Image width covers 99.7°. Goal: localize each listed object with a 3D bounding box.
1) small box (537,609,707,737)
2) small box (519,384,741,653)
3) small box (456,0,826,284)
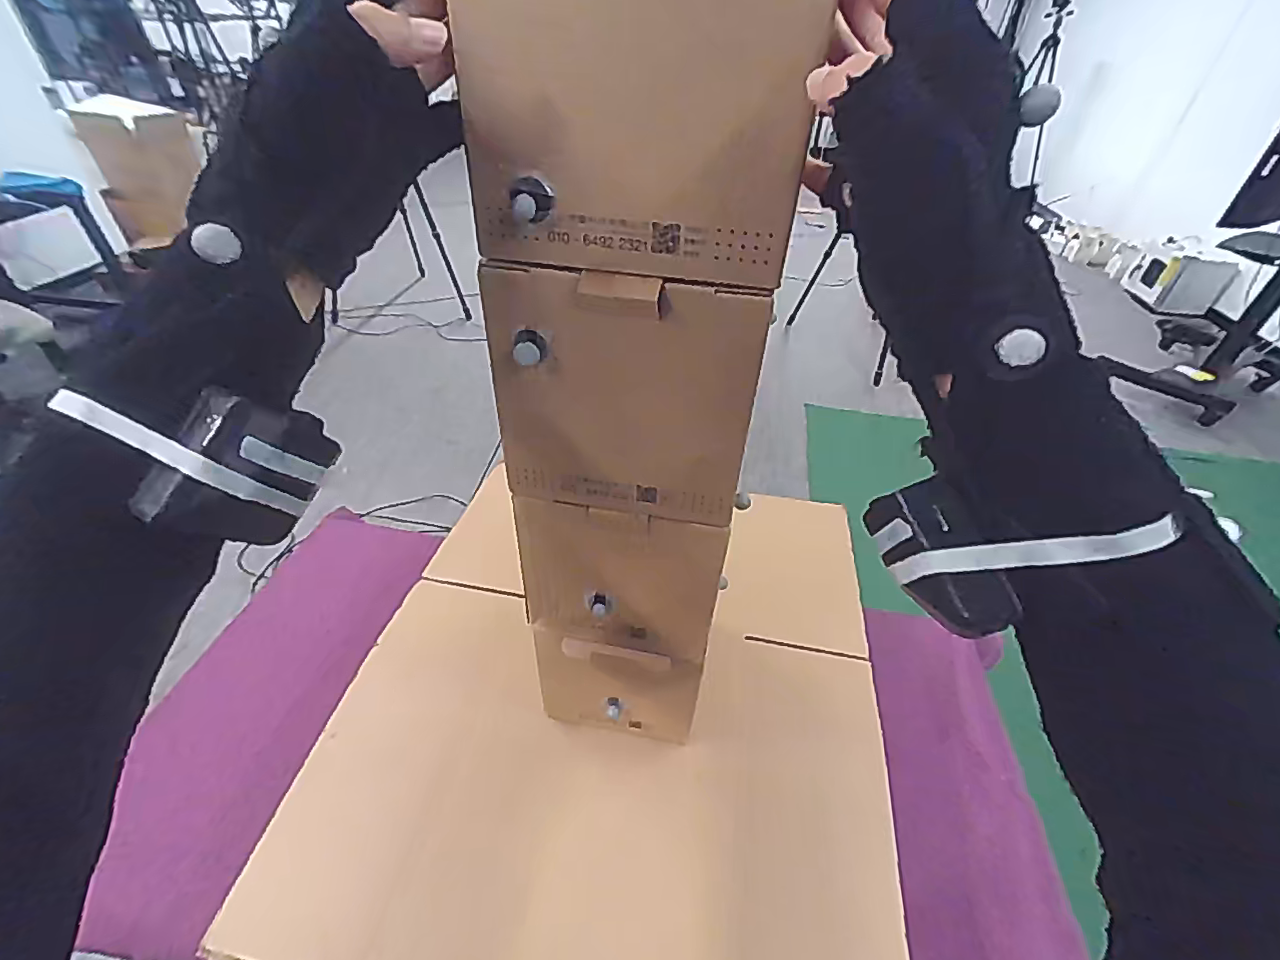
[{"bbox_3d":[-0.009,0.158,0.620,0.168,0.176,0.179,8,40,7],"label":"small box"},{"bbox_3d":[-0.003,0.033,0.516,0.168,0.176,0.179,9,40,7],"label":"small box"},{"bbox_3d":[0.011,-0.226,0.312,0.168,0.176,0.179,9,38,7],"label":"small box"}]
